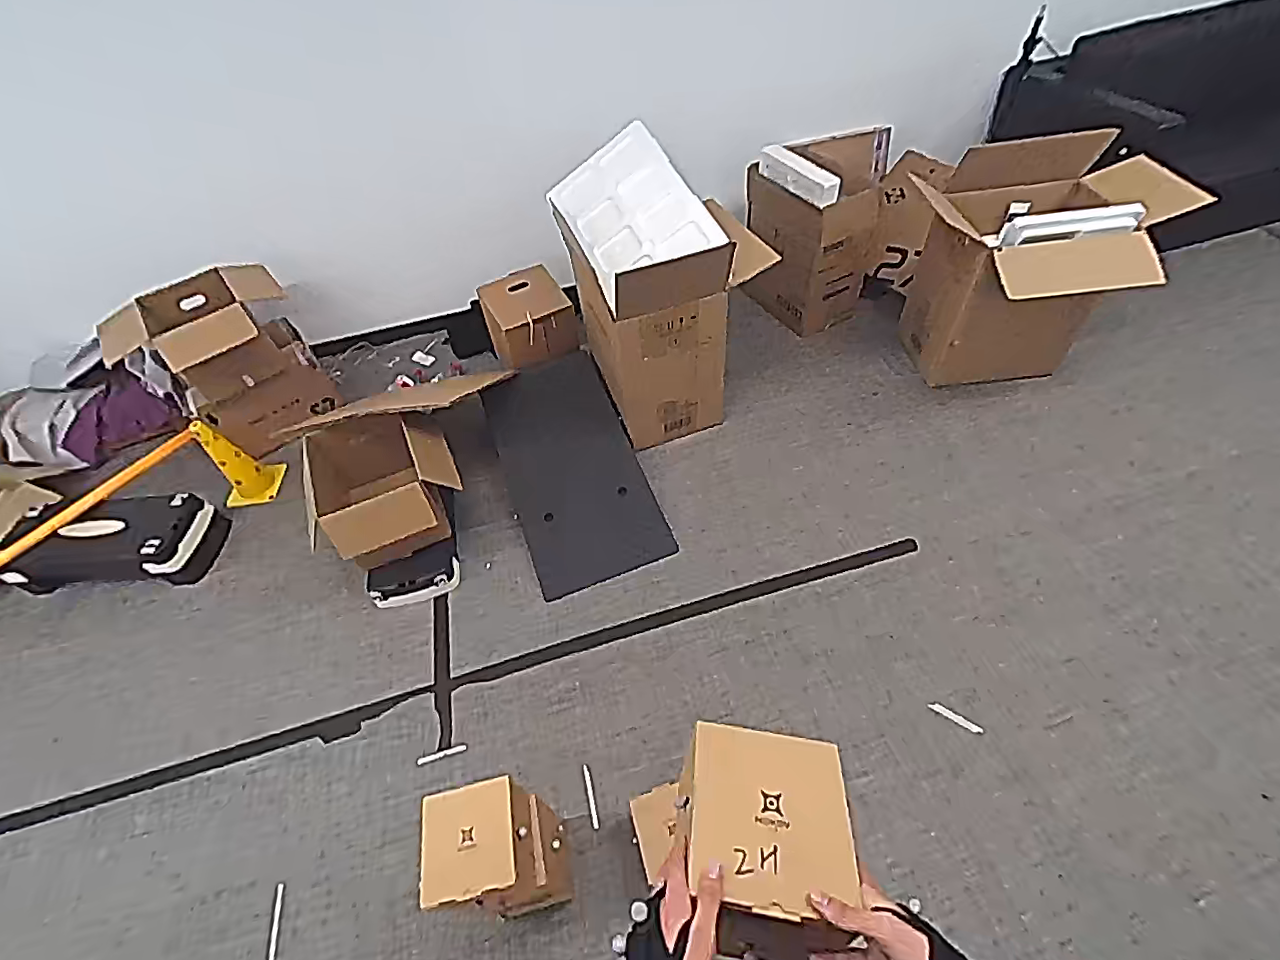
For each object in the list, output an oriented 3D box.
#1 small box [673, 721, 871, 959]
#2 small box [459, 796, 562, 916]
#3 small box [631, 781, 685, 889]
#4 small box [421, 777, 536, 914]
[{"bbox_3d":[0.131,0.405,0.600,0.168,0.176,0.179,8,37,4],"label":"small box"},{"bbox_3d":[-0.276,0.803,1.150,0.179,0.176,0.168,-14,51,-7],"label":"small box"},{"bbox_3d":[0.085,0.847,1.291,0.168,0.176,0.179,-17,52,-6],"label":"small box"},{"bbox_3d":[-0.301,0.697,1.028,0.168,0.176,0.179,-13,51,-5],"label":"small box"}]
